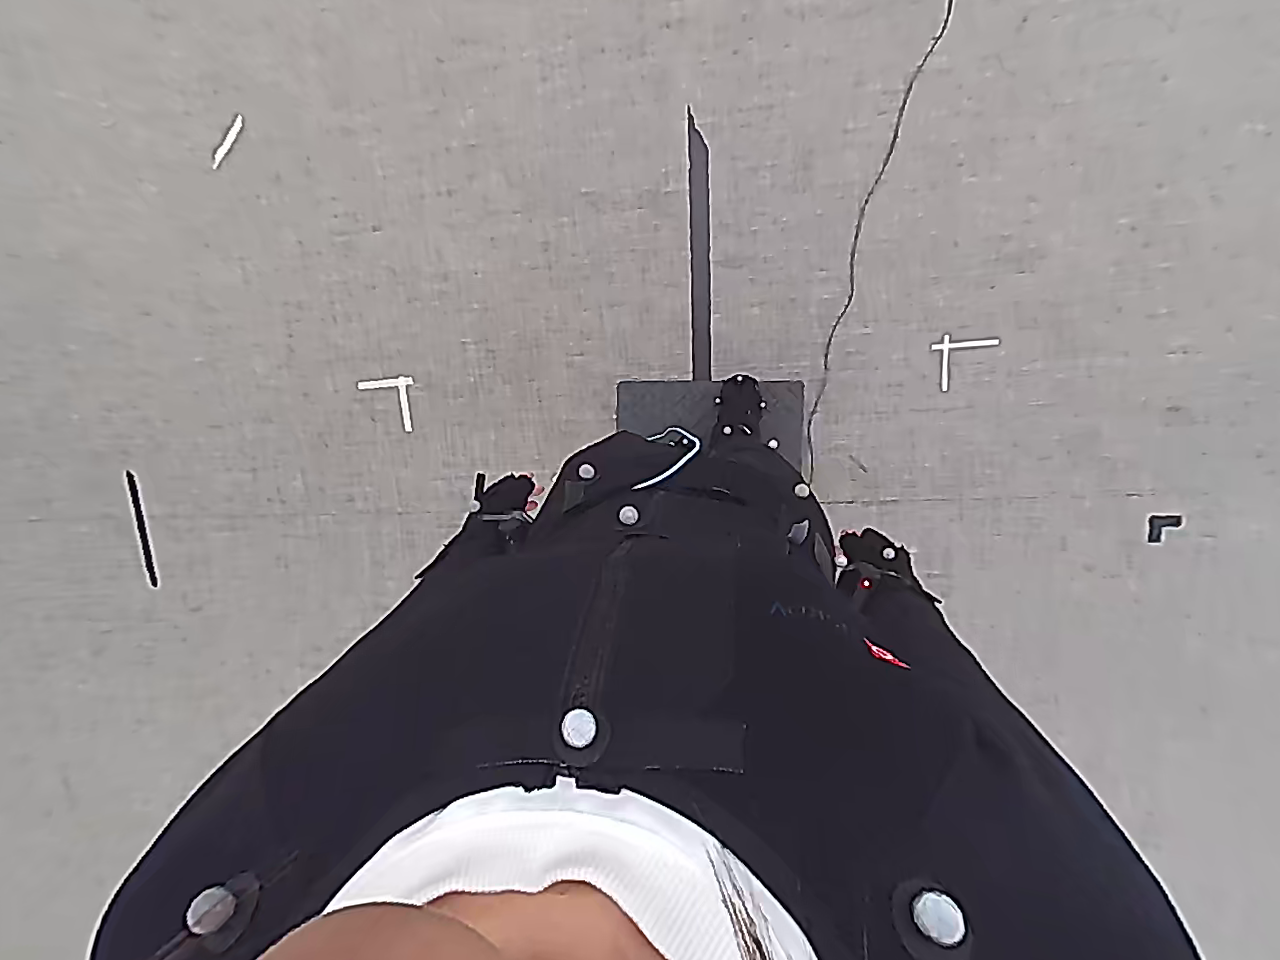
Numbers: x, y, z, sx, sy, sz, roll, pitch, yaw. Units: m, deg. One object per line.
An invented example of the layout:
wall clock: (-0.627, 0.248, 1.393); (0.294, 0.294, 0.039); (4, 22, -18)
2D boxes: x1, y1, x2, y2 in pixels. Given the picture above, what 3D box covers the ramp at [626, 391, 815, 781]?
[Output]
ramp: (0.203, 0.267, 1.429); (0.509, 0.206, 0.991); (-2, 97, 11)
